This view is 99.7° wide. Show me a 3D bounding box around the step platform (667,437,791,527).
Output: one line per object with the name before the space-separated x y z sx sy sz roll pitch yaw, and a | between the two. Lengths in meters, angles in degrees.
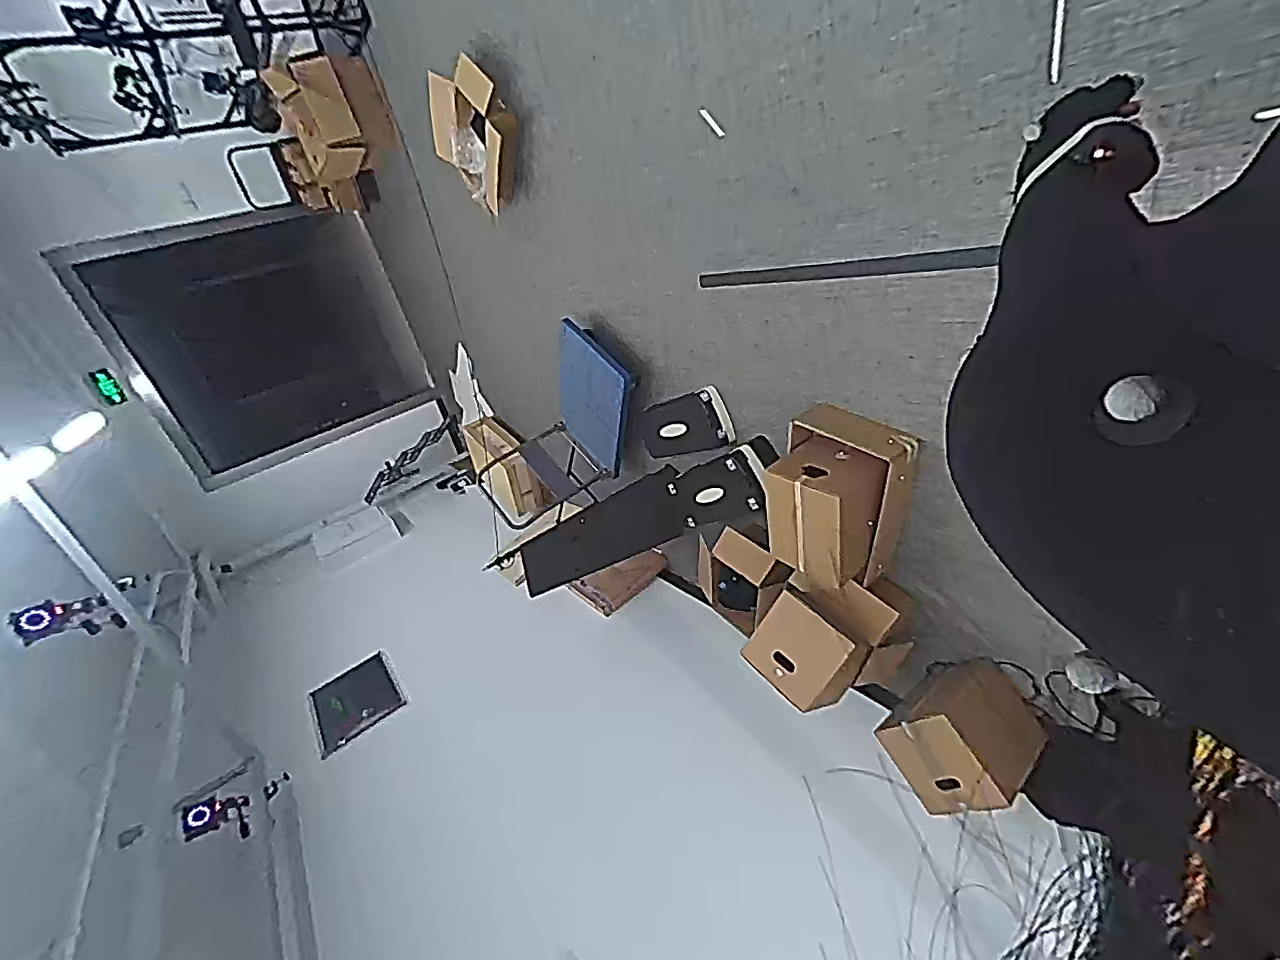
step platform | 0.396 0.030 2.600 0.286 0.204 0.684 60 152 -1
